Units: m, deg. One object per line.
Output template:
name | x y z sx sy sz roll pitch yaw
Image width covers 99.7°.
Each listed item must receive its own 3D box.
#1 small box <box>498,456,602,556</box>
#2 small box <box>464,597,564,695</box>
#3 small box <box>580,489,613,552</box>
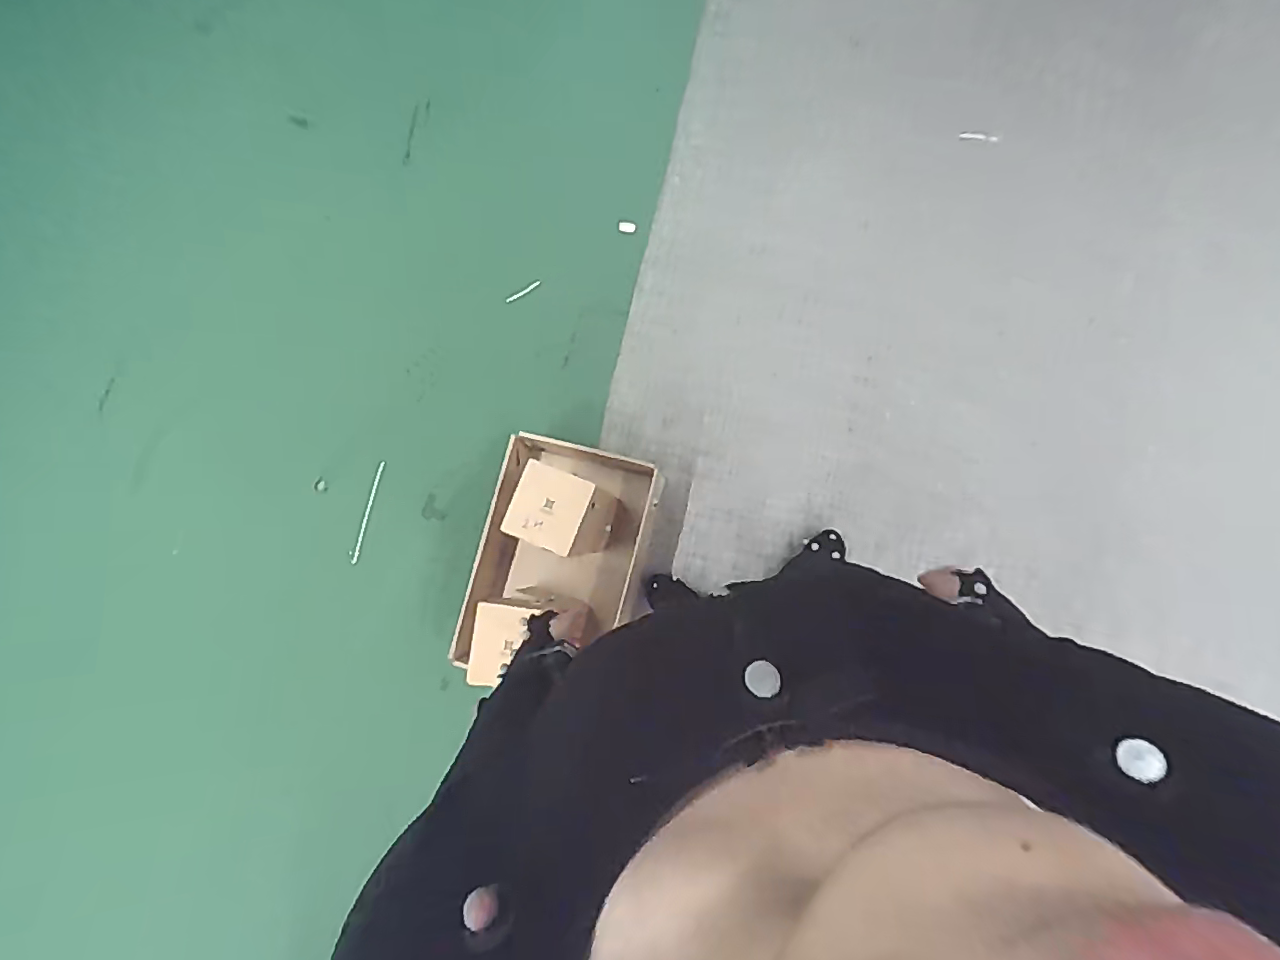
small box | -0.197 0.064 1.246 0.168 0.176 0.179 21 86 8
small box | -0.275 0.364 1.213 0.168 0.176 0.179 5 81 5
small box | -0.185 0.083 1.409 0.179 0.176 0.168 21 86 7
